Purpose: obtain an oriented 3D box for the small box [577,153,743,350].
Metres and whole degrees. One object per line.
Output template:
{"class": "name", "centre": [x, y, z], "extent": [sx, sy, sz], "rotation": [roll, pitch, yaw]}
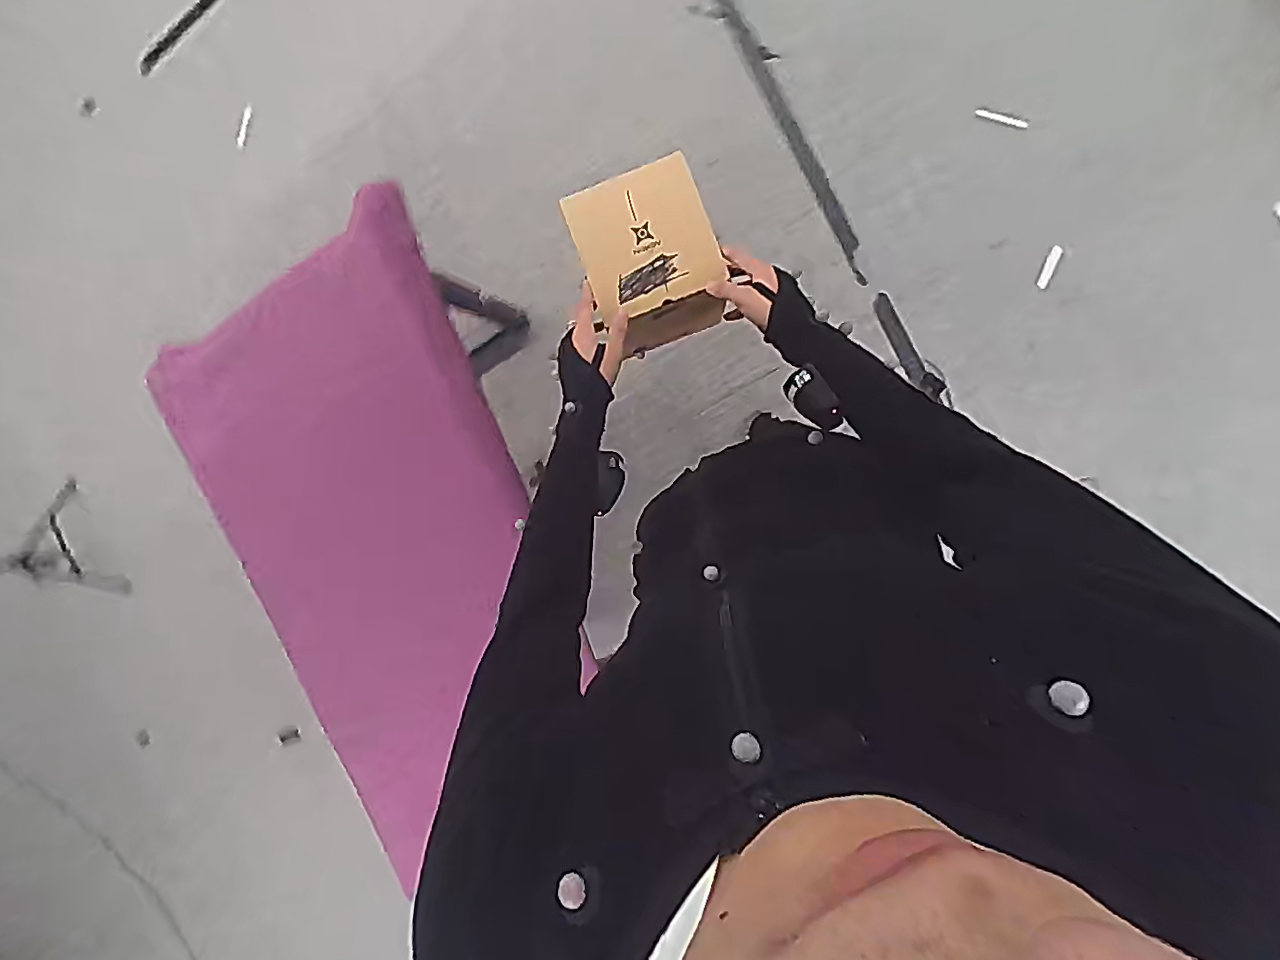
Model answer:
{"class": "small box", "centre": [0.028, -0.288, 0.731], "extent": [0.168, 0.176, 0.179], "rotation": [-17, 88, 2]}
